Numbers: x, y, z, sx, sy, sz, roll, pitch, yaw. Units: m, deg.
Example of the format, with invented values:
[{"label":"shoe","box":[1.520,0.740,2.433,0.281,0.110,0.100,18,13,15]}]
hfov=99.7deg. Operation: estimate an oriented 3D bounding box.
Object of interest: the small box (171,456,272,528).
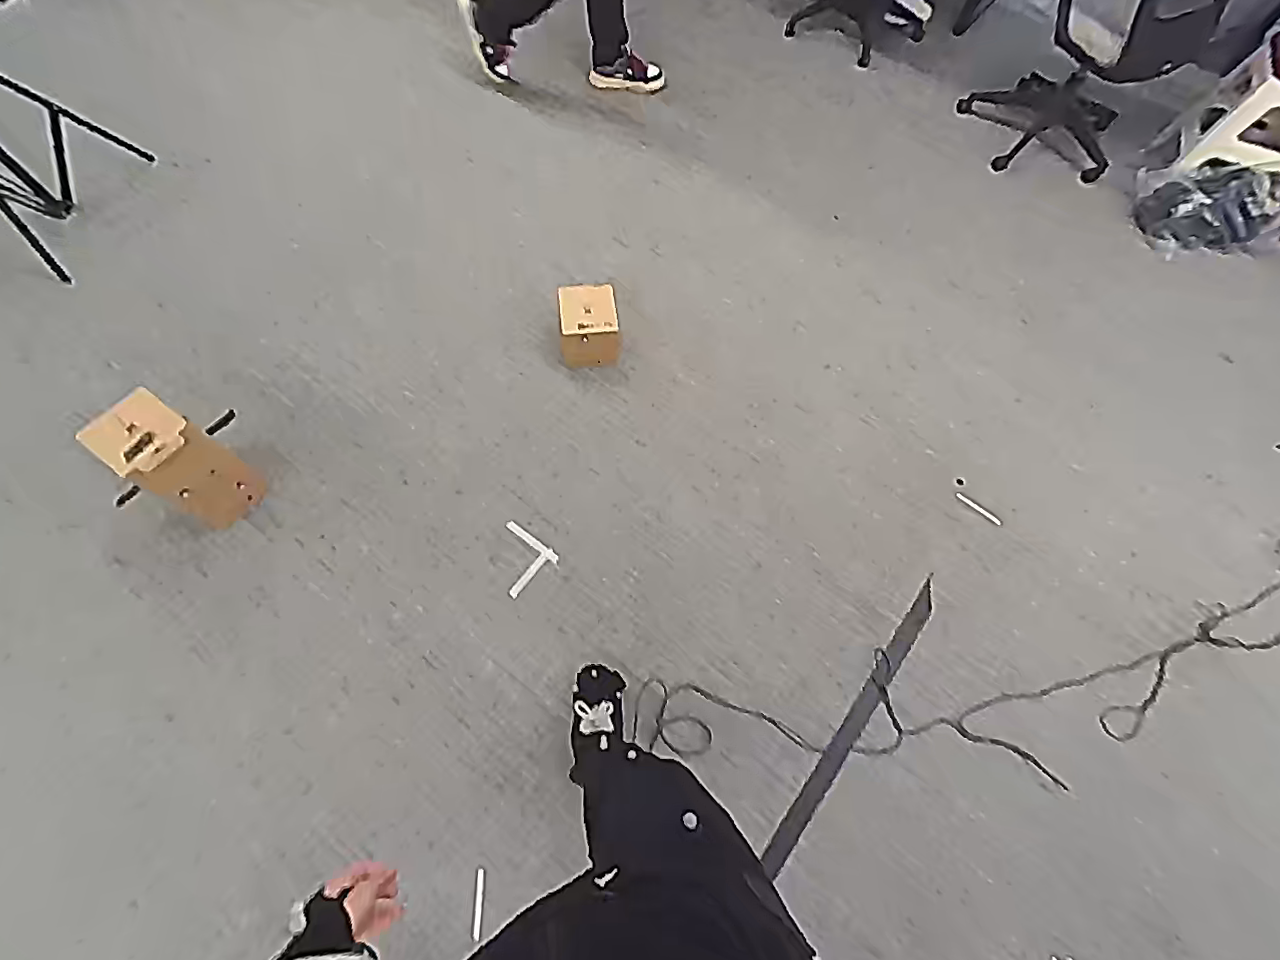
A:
[{"label":"small box","box":[-1.121,0.006,1.413,0.179,0.176,0.168,32,67,12]}]

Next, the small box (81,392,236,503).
[{"label":"small box","box":[-1.109,-0.066,1.264,0.179,0.176,0.168,33,68,12]}]

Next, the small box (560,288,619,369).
[{"label":"small box","box":[-0.157,-0.465,1.670,0.168,0.176,0.179,-6,66,-6]}]
